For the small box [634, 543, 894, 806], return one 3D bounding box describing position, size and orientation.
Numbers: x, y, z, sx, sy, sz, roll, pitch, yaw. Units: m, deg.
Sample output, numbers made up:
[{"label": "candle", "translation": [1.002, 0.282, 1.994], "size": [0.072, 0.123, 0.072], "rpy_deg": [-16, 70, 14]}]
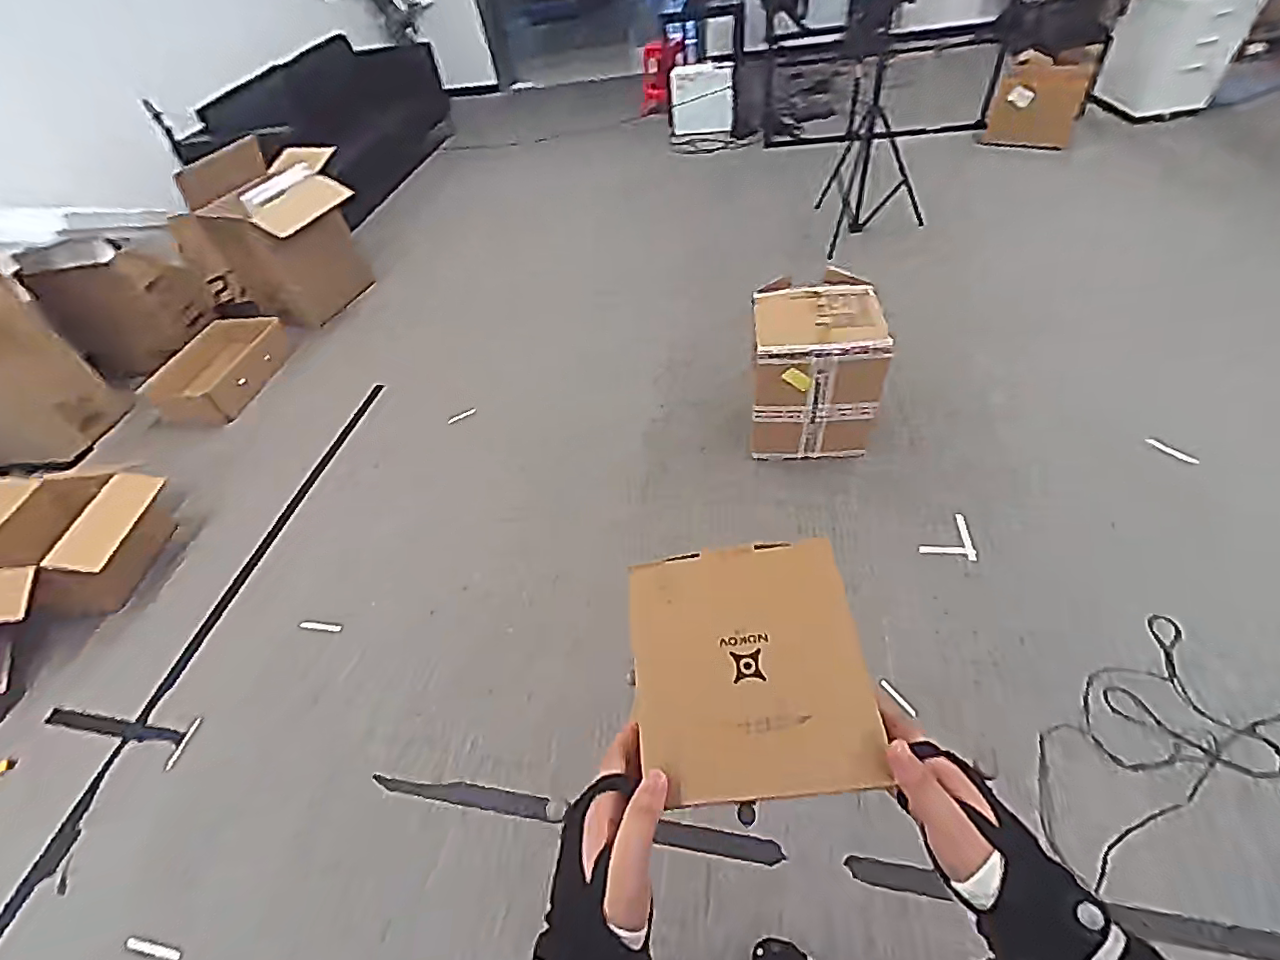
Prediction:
[{"label": "small box", "translation": [0.088, 0.174, 0.466], "size": [0.168, 0.176, 0.179], "rpy_deg": [-7, 59, 4]}]
